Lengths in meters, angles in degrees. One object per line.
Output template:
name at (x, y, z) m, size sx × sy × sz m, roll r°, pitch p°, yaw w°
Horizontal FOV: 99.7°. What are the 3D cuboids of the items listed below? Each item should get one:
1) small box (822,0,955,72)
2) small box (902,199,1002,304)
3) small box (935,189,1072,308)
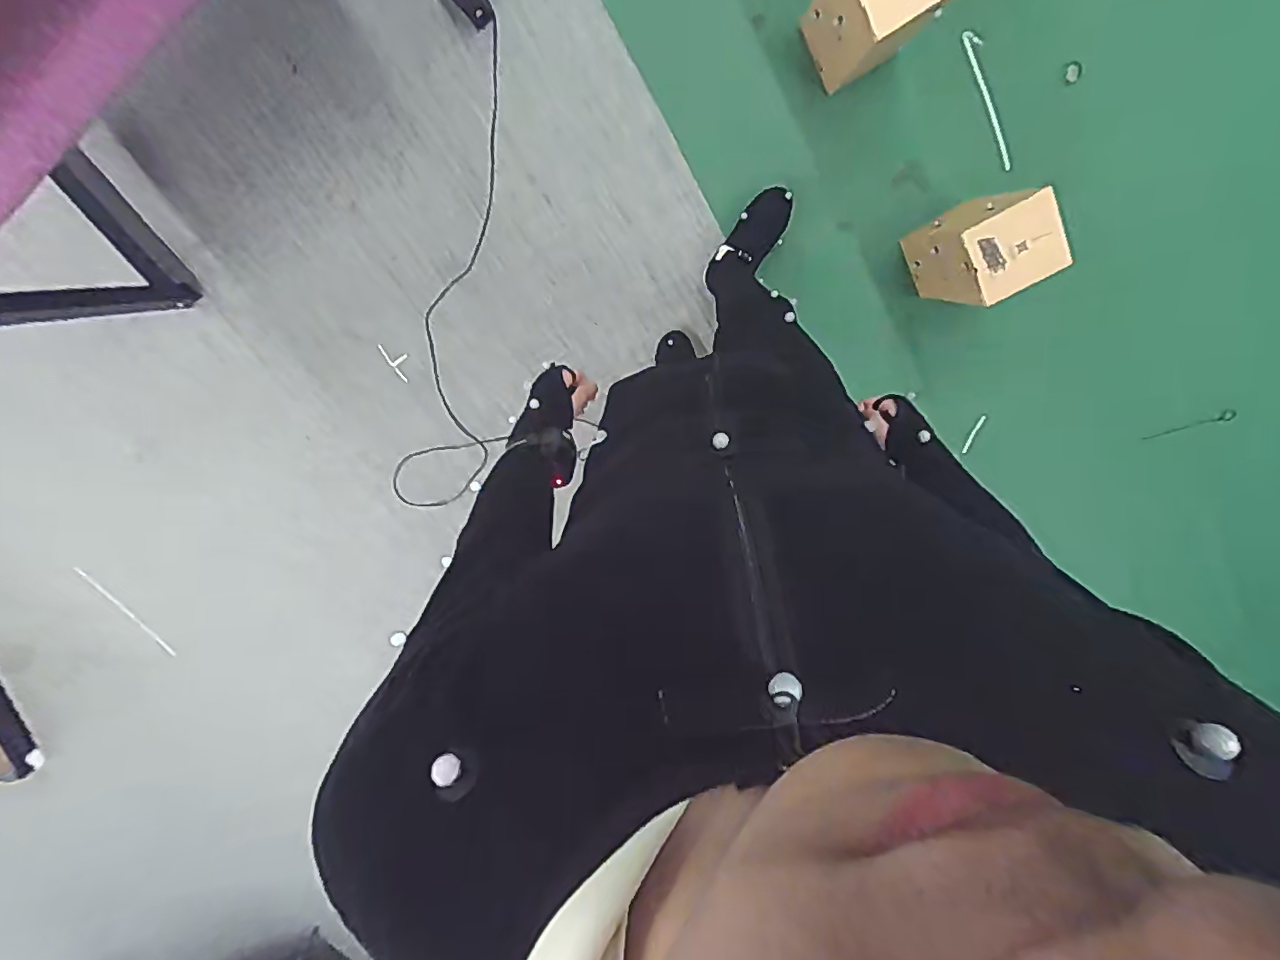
small box at (0.466, -0.916, 1.007) m, size 0.179 × 0.176 × 0.168 m, roll -27°, pitch 107°, yaw 13°
small box at (0.773, -0.550, 1.309) m, size 0.179 × 0.176 × 0.168 m, roll -27°, pitch 108°, yaw 15°
small box at (0.761, -0.488, 1.157) m, size 0.179 × 0.176 × 0.168 m, roll -27°, pitch 108°, yaw 14°
